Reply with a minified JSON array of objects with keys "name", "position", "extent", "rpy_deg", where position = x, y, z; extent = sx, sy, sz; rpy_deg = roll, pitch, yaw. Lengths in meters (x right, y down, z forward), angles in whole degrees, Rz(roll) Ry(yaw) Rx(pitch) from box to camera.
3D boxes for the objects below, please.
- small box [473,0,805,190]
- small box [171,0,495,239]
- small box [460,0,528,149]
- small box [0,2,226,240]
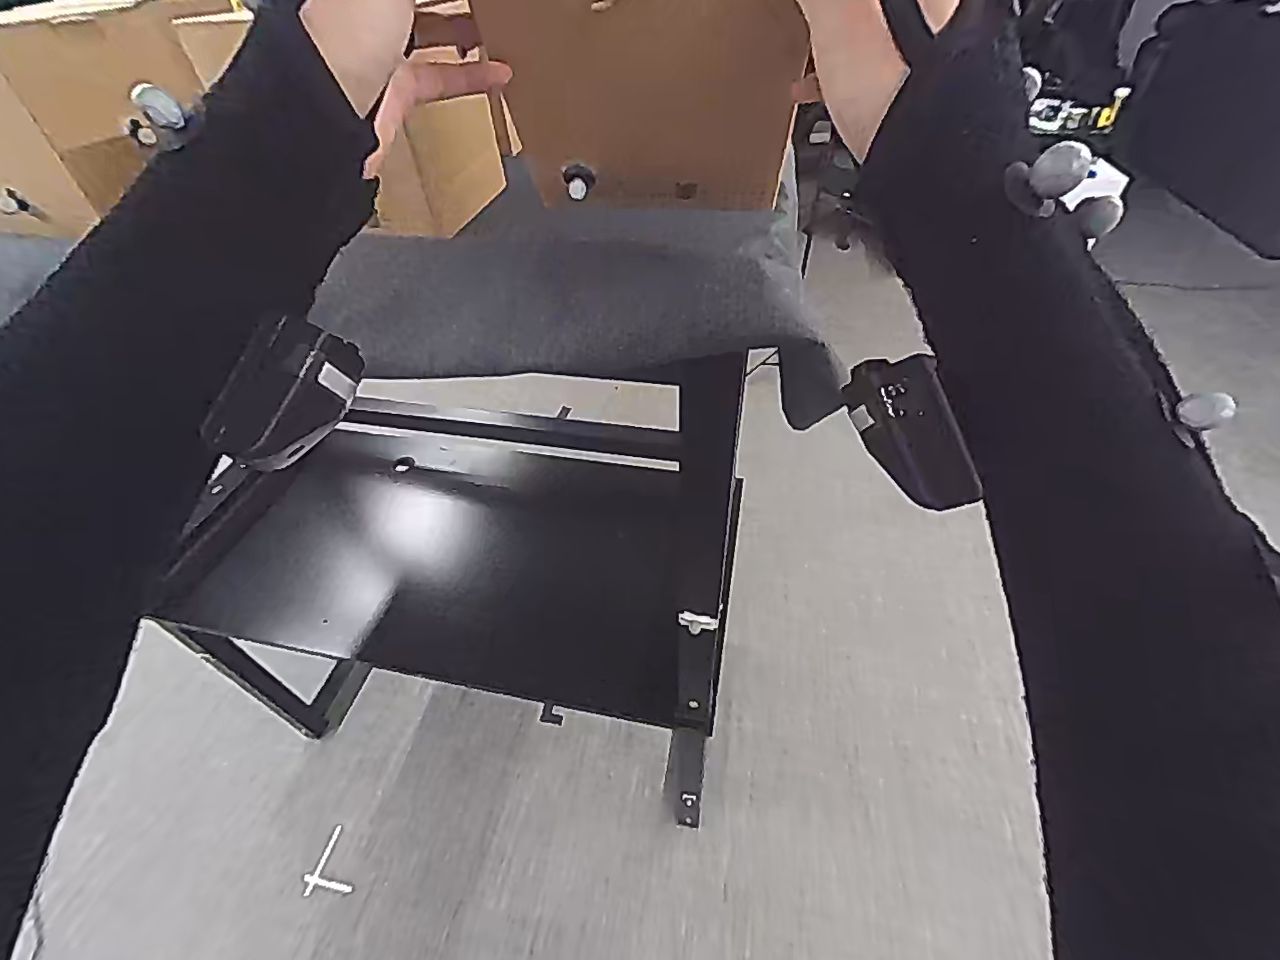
[{"name":"small box","position":[0.010,-0.300,0.318],"extent":[0.168,0.176,0.179],"rpy_deg":[4,77,6]},{"name":"small box","position":[-0.252,-0.338,0.502],"extent":[0.168,0.176,0.179],"rpy_deg":[5,45,8]},{"name":"small box","position":[-0.238,-0.544,0.704],"extent":[0.179,0.176,0.168],"rpy_deg":[6,47,10]},{"name":"small box","position":[-0.574,-0.352,0.535],"extent":[0.179,0.176,0.168],"rpy_deg":[7,44,8]}]
